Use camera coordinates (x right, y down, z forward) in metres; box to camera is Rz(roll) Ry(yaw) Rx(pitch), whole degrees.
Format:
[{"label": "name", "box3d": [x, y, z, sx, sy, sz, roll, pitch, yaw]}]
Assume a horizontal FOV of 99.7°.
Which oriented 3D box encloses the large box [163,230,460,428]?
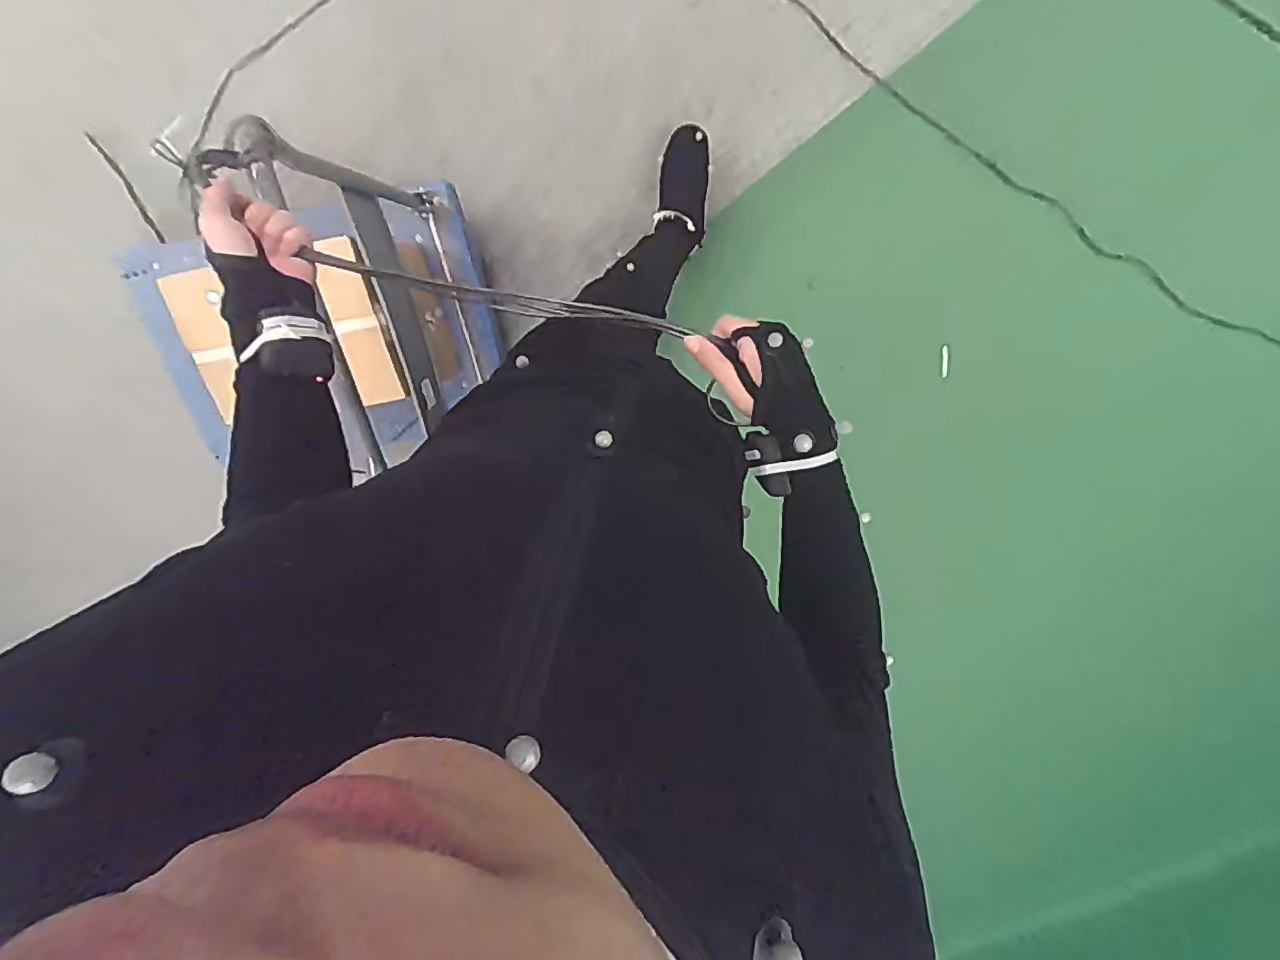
[{"label": "large box", "box3d": [-0.679, -0.337, 1.195, 0.408, 0.320, 0.320, -9, 110, 7]}]
